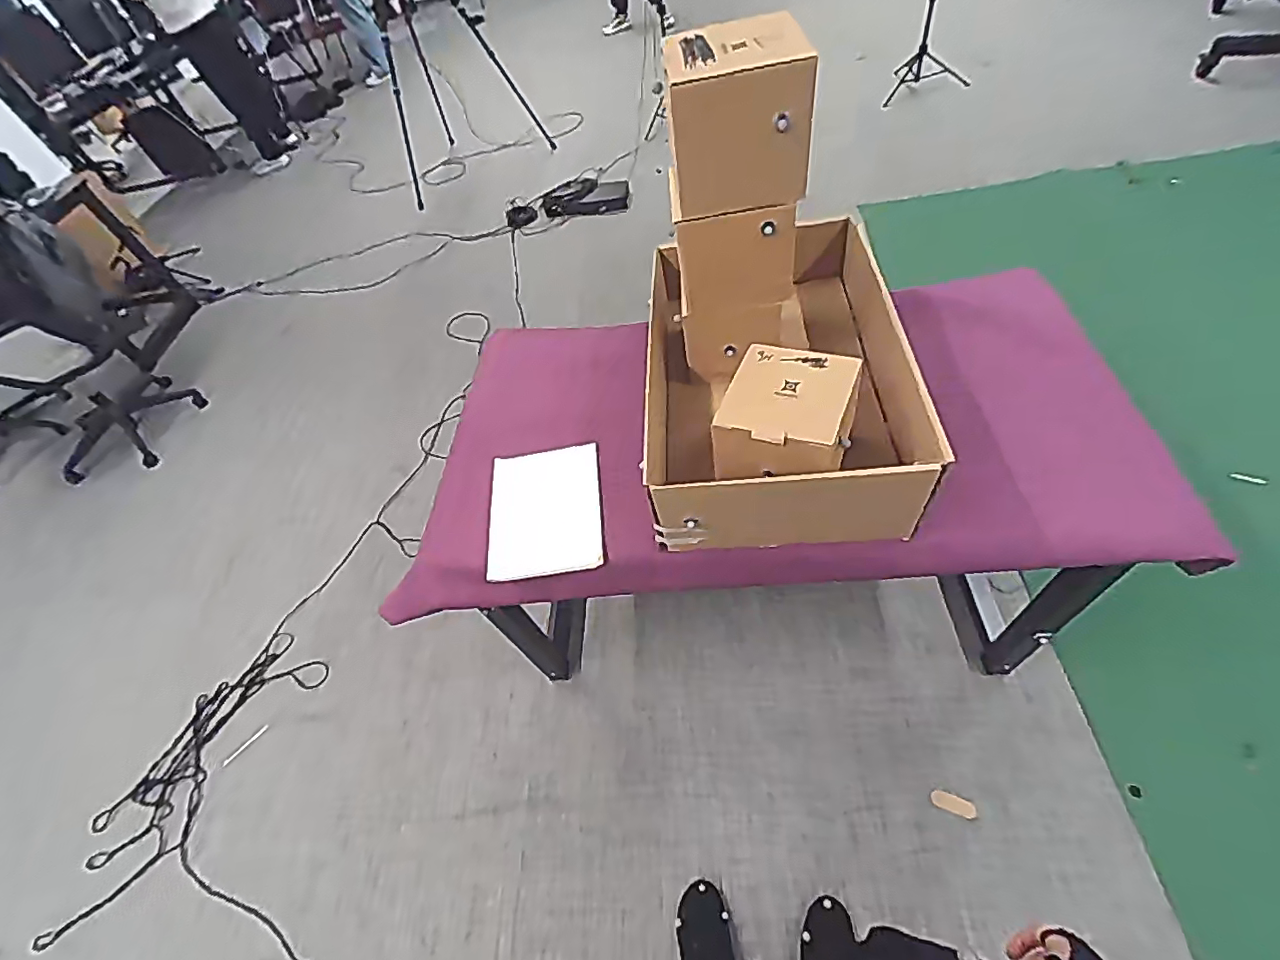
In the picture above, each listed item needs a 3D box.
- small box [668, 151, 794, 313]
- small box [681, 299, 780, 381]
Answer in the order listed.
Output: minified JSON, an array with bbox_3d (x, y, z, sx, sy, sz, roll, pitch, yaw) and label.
[{"bbox_3d":[0.145,-0.390,0.870,0.179,0.176,0.168,-6,54,8],"label":"small box"},{"bbox_3d":[0.168,-0.299,1.001,0.168,0.176,0.179,-4,55,9],"label":"small box"}]
